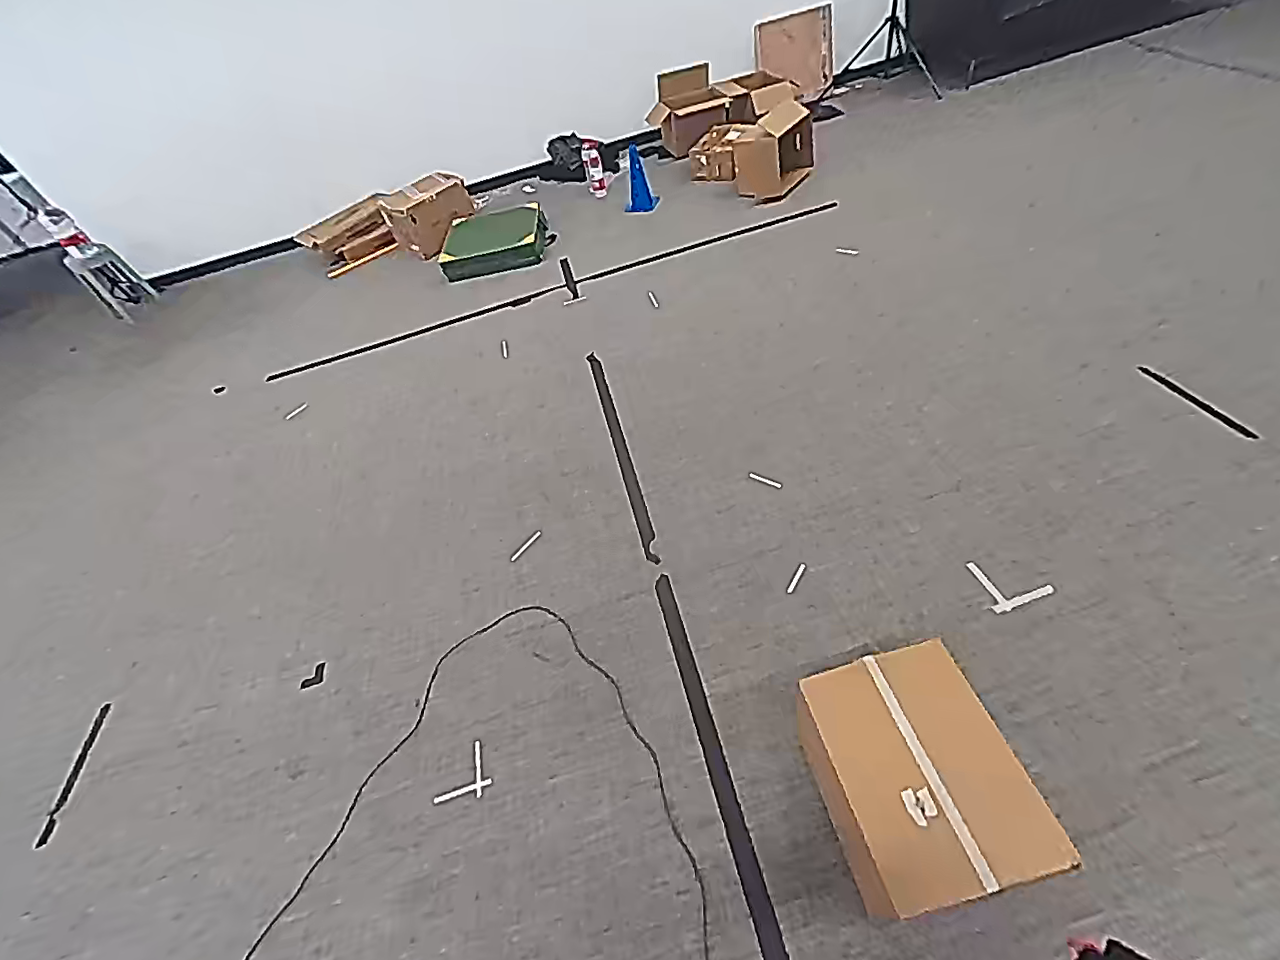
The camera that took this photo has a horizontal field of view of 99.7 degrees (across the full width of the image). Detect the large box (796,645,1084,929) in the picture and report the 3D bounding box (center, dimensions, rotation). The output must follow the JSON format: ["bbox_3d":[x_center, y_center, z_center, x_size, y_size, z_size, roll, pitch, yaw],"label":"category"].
[{"bbox_3d":[0.550,0.621,1.106,0.320,0.320,0.408,-18,48,0],"label":"large box"}]
